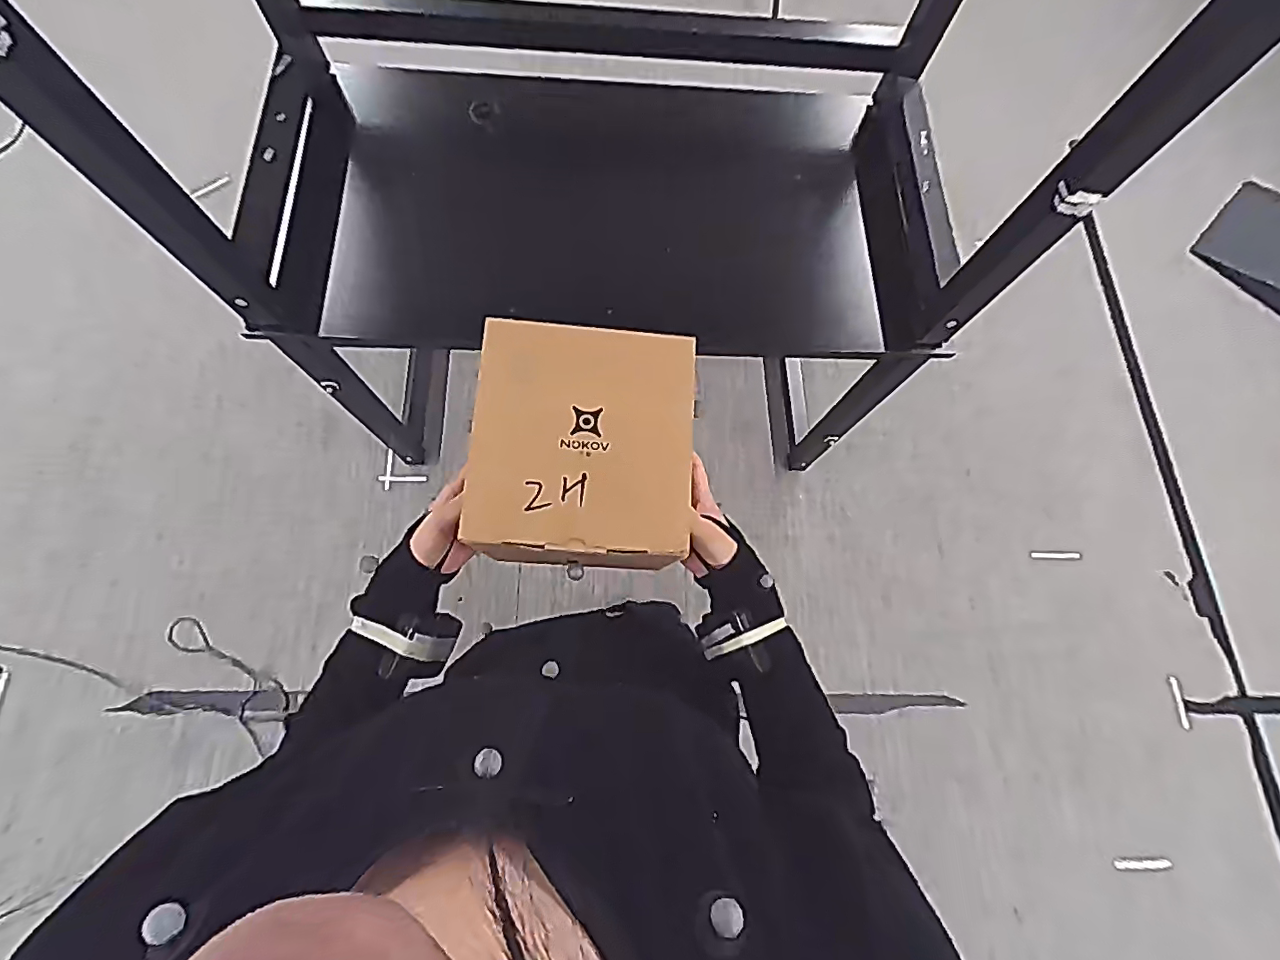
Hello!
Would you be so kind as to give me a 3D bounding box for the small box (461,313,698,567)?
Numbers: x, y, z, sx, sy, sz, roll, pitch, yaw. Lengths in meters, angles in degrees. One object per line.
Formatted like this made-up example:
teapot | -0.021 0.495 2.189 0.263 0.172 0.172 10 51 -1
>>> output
small box | -0.048 -0.021 0.480 0.168 0.176 0.179 4 77 -5
